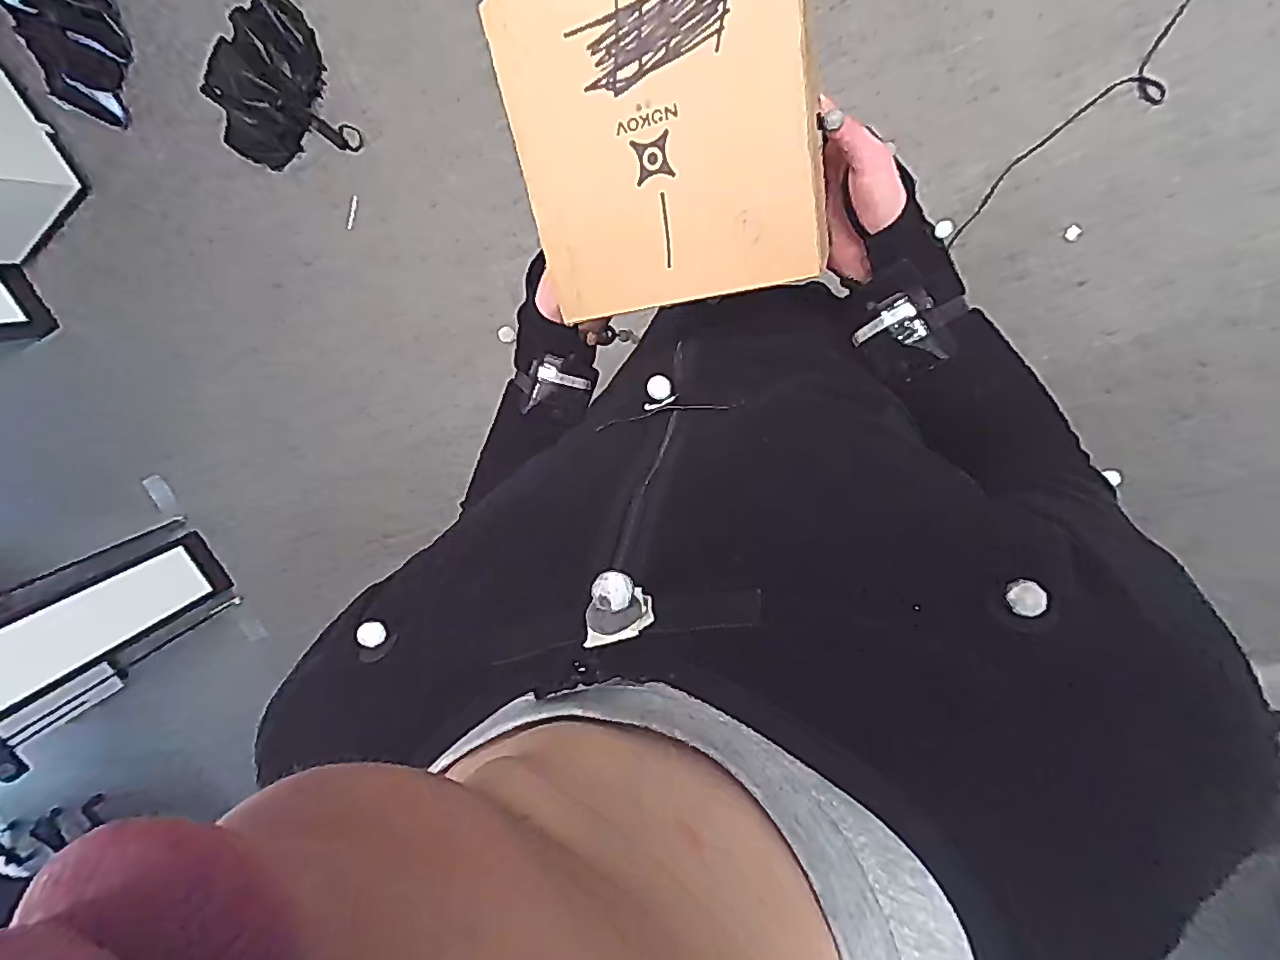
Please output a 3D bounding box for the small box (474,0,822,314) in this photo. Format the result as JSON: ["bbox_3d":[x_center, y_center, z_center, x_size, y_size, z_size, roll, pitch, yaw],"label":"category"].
[{"bbox_3d":[0.027,-0.224,0.360,0.168,0.176,0.179,-2,116,23],"label":"small box"}]
